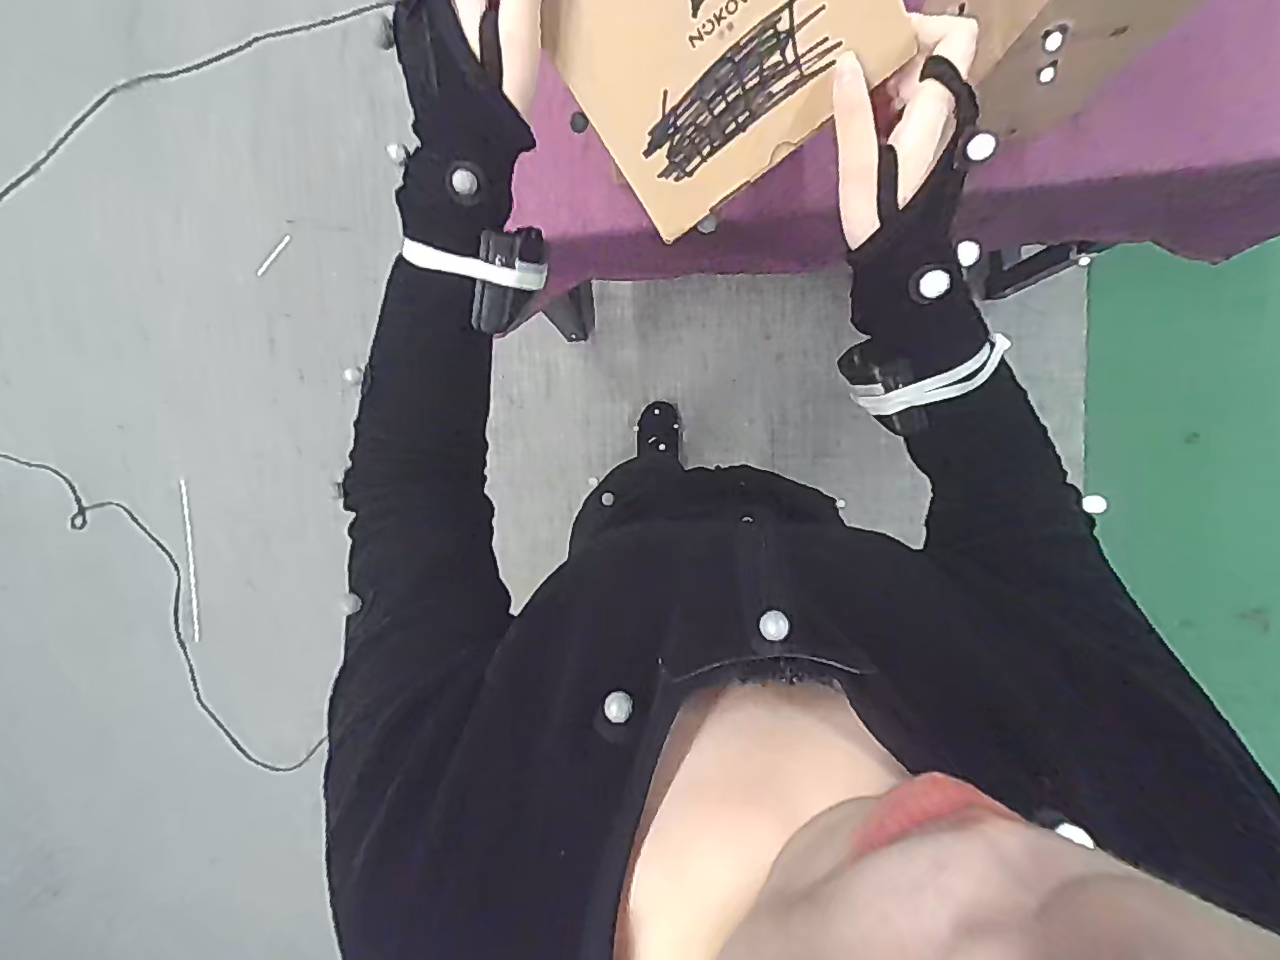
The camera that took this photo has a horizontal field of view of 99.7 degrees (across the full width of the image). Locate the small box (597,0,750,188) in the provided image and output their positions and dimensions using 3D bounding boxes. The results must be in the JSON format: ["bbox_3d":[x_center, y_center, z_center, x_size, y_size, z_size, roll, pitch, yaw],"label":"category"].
[{"bbox_3d":[0.039,-0.497,0.672,0.168,0.176,0.179,-4,93,4],"label":"small box"}]

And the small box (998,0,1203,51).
[{"bbox_3d":[0.449,-0.527,0.482,0.168,0.176,0.179,-5,92,3],"label":"small box"}]

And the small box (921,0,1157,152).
[{"bbox_3d":[0.457,-0.534,0.647,0.168,0.176,0.179,-4,91,4],"label":"small box"}]
